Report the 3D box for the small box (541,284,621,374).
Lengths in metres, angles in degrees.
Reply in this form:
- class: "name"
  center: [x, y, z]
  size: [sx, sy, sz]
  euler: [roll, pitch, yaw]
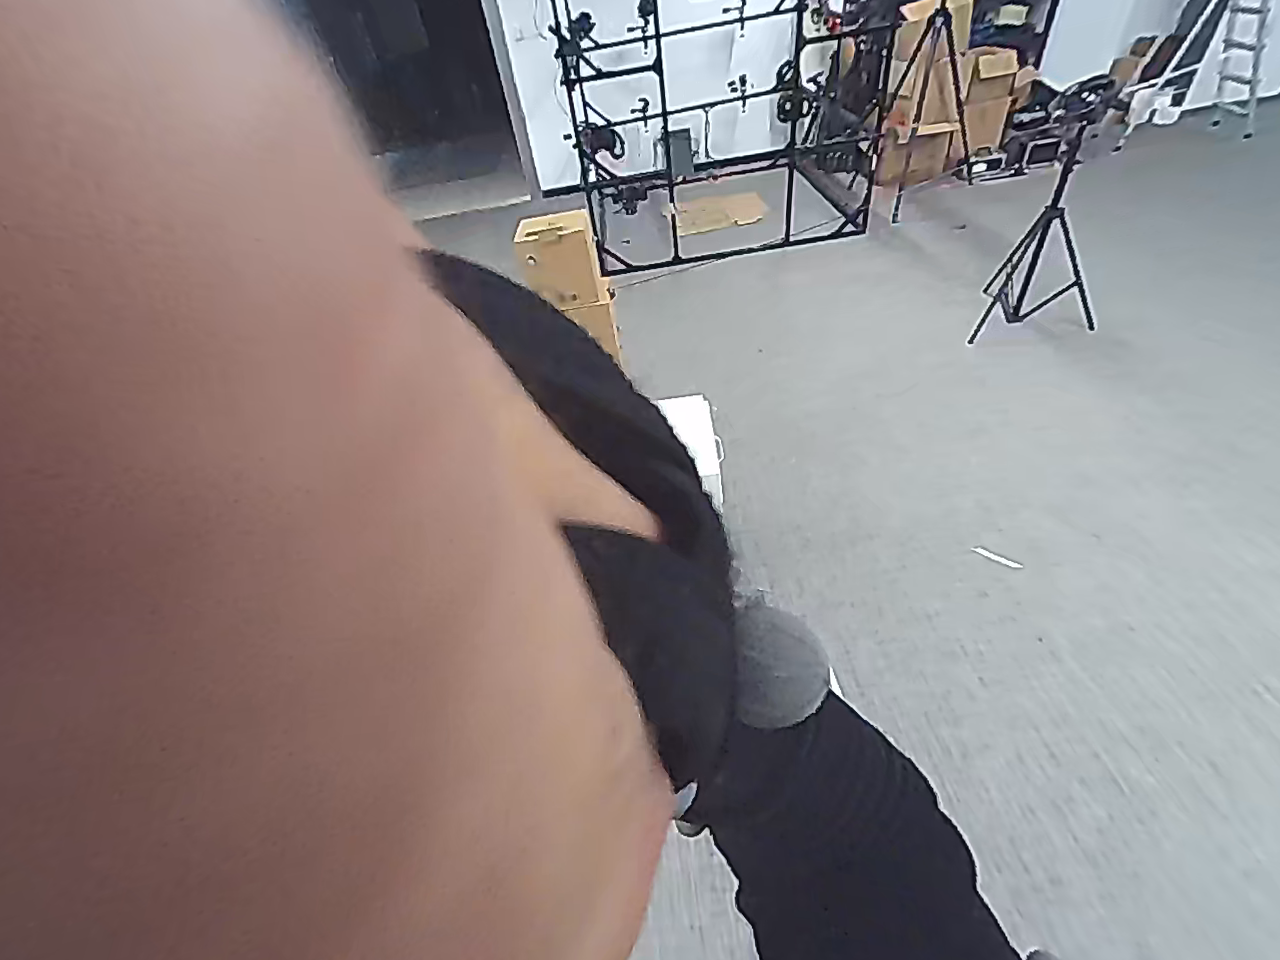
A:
- class: "small box"
  center: [-0.149, -0.393, 1.424]
  size: [0.179, 0.176, 0.168]
  euler: [-7, 42, 3]
